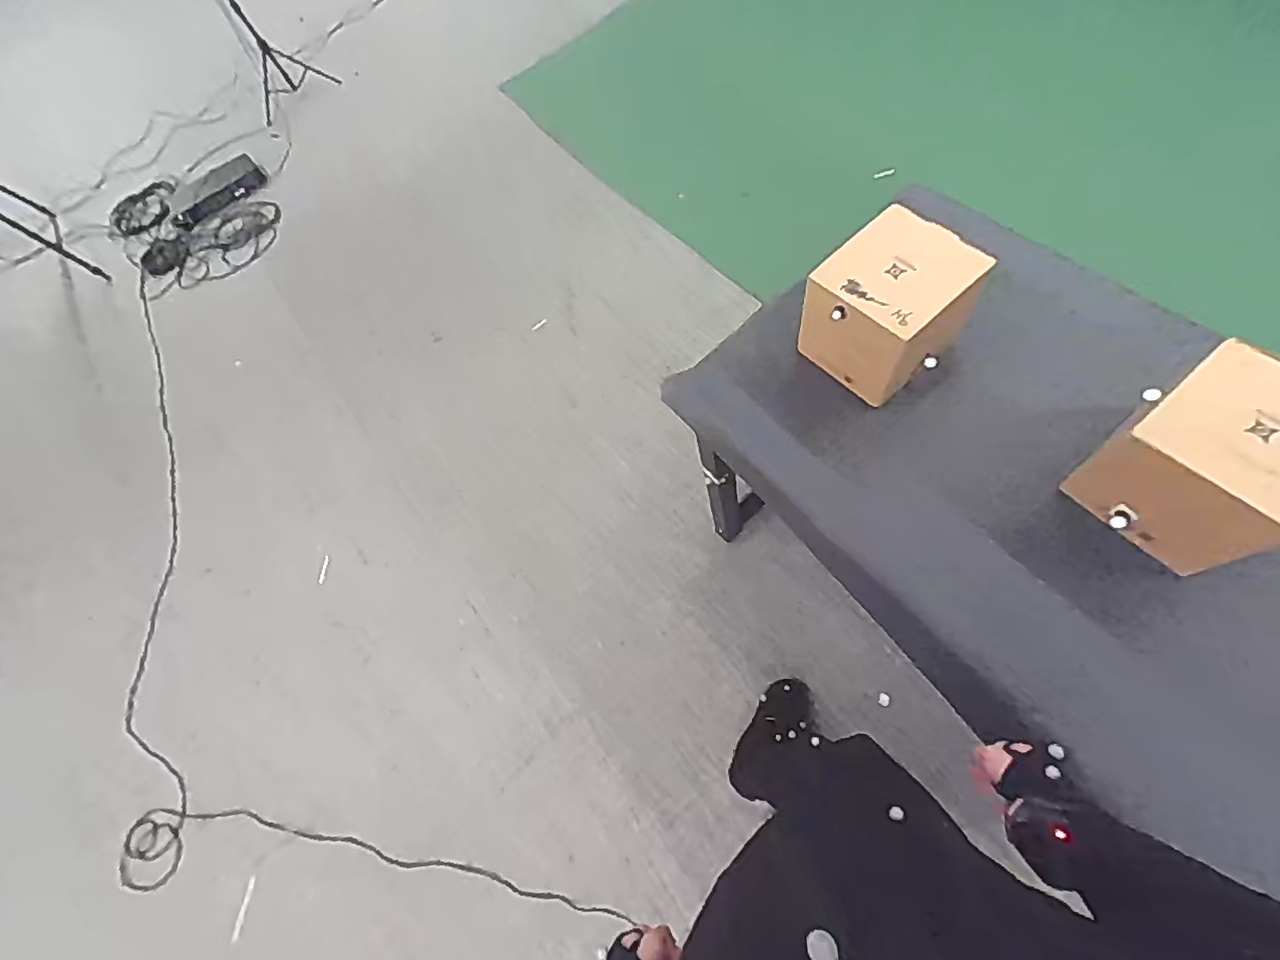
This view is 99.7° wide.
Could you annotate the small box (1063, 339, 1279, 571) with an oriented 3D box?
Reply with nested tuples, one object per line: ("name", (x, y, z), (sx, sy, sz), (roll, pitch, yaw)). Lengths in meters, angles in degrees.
("small box", (0.657, -0.021, 0.635), (0.179, 0.176, 0.168), (-42, 65, -6))

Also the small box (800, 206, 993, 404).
("small box", (0.355, -0.248, 0.789), (0.179, 0.176, 0.168), (-40, 66, -8))
